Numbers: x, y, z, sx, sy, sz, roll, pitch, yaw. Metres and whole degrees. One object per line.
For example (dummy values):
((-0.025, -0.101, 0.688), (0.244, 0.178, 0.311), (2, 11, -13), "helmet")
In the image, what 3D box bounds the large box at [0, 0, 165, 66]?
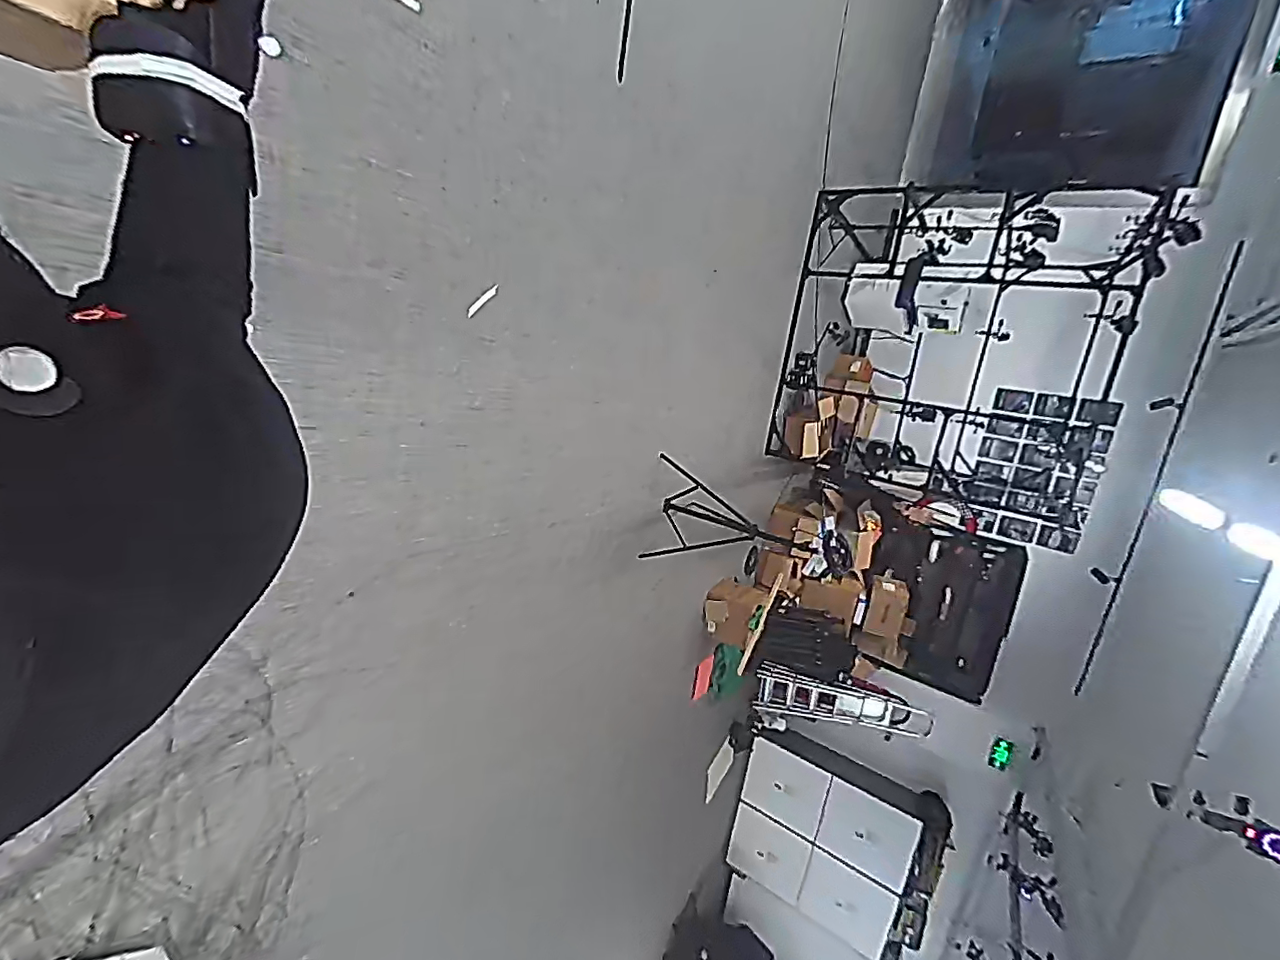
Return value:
((-0.524, -0.467, 0.246), (0.408, 0.320, 0.320), (-8, 119, -57), "large box")
